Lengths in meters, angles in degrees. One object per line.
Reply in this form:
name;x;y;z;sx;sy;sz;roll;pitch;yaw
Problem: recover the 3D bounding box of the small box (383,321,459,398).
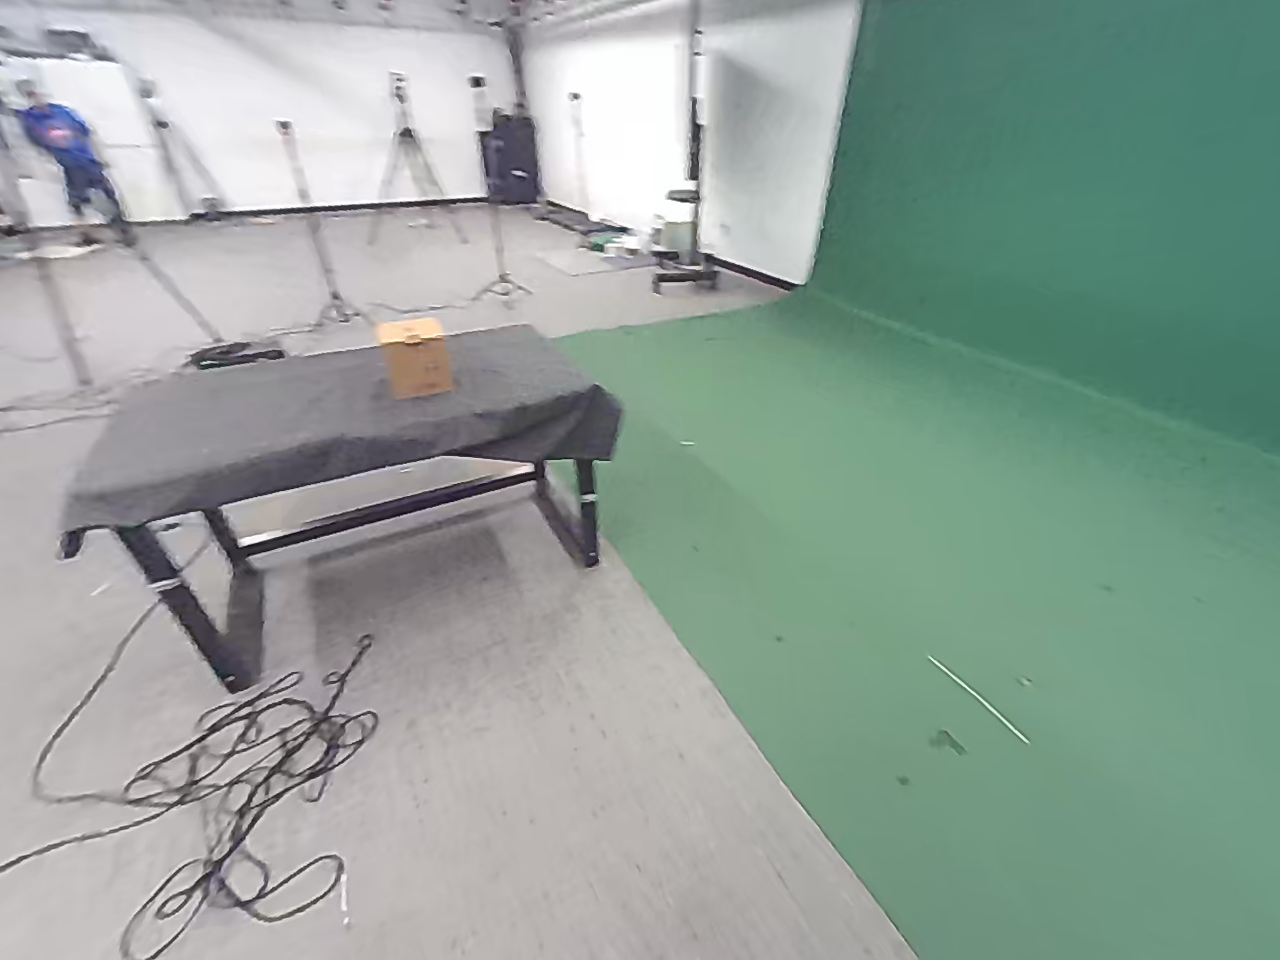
small box;-0.626;-0.342;1.547;0.168;0.176;0.179;-14;35;-22
